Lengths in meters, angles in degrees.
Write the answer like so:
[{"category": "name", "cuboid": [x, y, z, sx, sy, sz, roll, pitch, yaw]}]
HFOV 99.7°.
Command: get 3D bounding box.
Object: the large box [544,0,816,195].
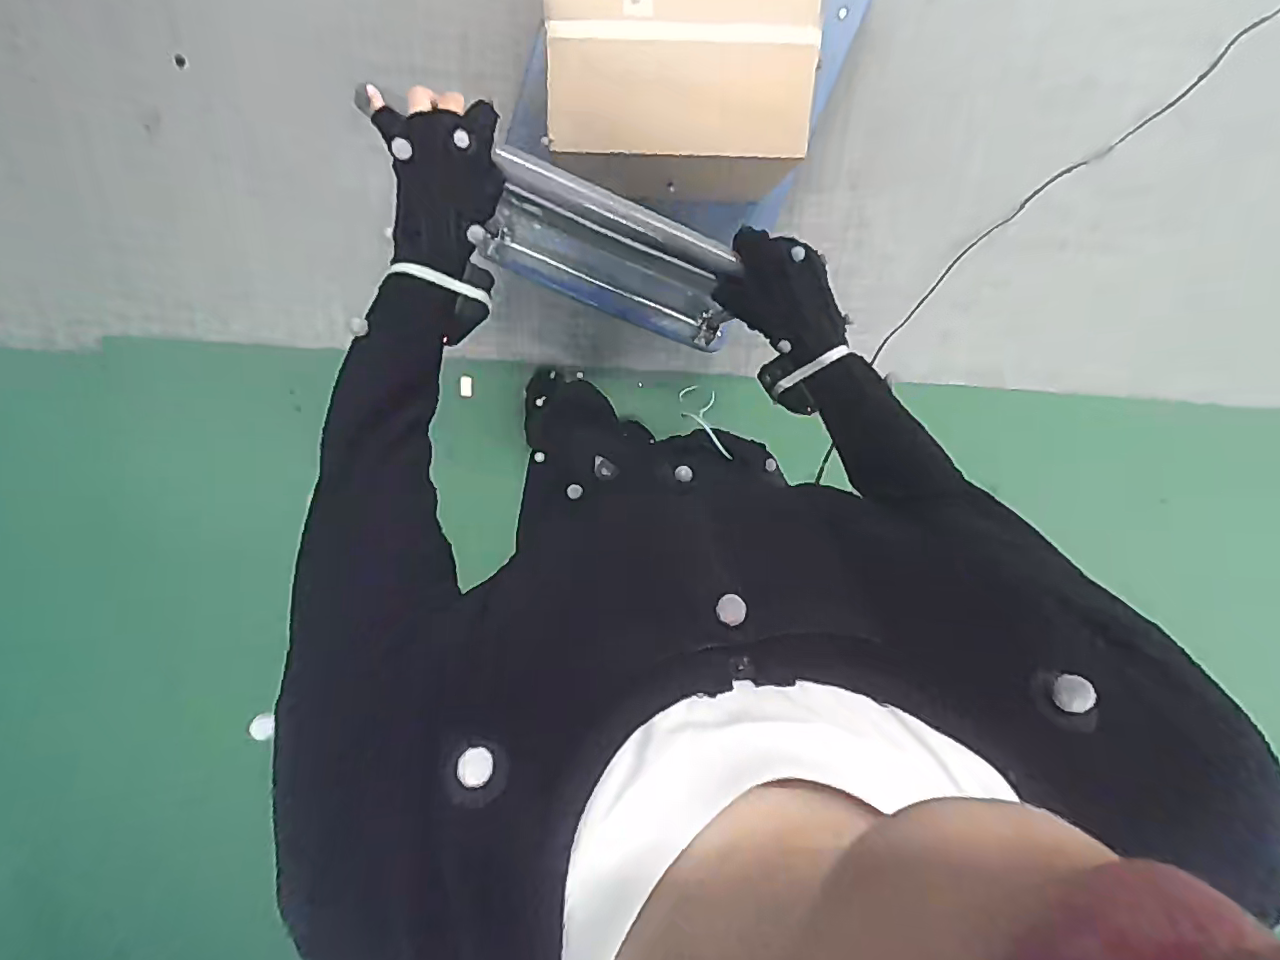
[{"category": "large box", "cuboid": [0.059, -0.697, 0.940, 0.408, 0.320, 0.320, 2, 106, -1]}]
